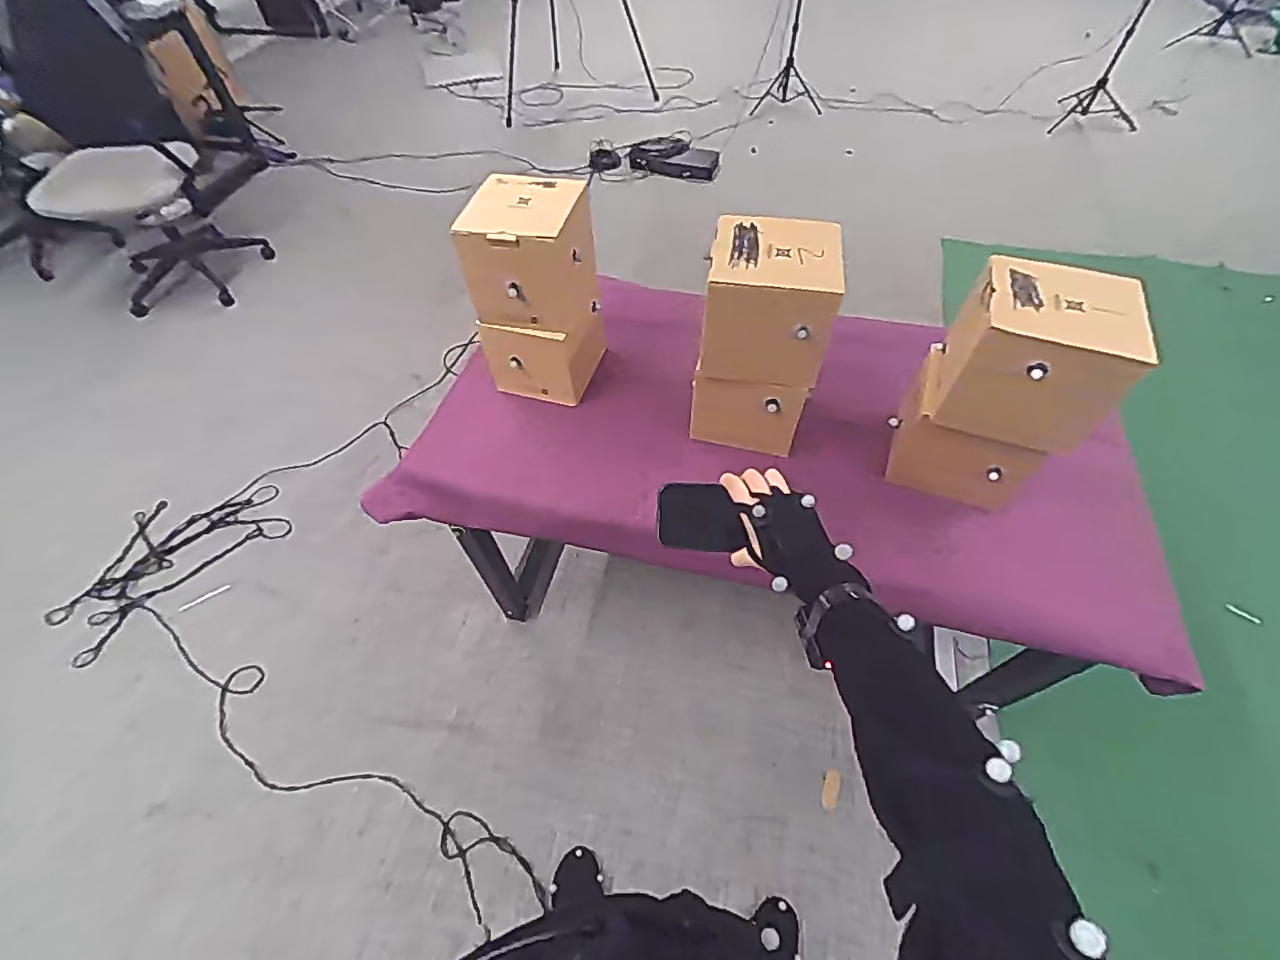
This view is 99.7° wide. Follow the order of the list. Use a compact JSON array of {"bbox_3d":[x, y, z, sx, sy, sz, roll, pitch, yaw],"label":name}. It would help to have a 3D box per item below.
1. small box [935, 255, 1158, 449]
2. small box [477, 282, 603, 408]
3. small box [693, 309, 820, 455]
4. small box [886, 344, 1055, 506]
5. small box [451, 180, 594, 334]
[{"bbox_3d":[0.515,-0.165,0.714,0.179,0.176,0.168,17,56,14],"label":"small box"},{"bbox_3d":[-0.174,-0.260,1.018,0.168,0.176,0.179,13,55,12],"label":"small box"},{"bbox_3d":[0.195,-0.163,0.929,0.179,0.176,0.168,12,55,11],"label":"small box"},{"bbox_3d":[0.517,-0.082,0.856,0.179,0.176,0.168,17,56,15],"label":"small box"},{"bbox_3d":[-0.178,-0.363,0.890,0.168,0.176,0.179,9,55,8],"label":"small box"}]
